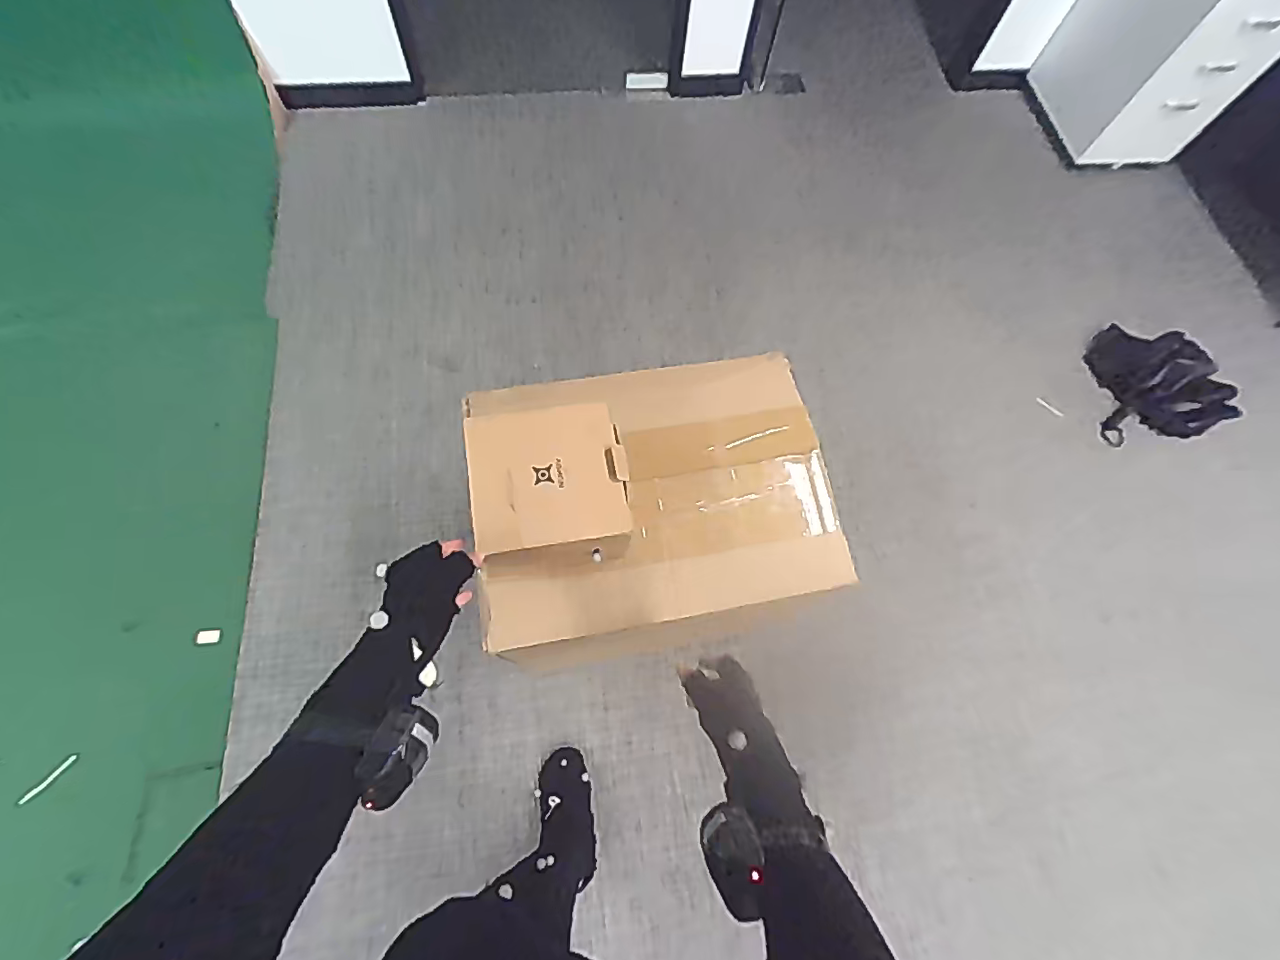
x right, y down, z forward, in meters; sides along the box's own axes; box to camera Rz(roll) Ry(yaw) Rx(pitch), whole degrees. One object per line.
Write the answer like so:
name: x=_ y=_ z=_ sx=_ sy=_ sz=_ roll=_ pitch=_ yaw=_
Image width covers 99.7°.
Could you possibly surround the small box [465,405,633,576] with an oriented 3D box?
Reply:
small box: x=-0.112 y=0.022 z=0.699 sx=0.179 sy=0.176 sz=0.168 roll=-10 pitch=73 yaw=-6
